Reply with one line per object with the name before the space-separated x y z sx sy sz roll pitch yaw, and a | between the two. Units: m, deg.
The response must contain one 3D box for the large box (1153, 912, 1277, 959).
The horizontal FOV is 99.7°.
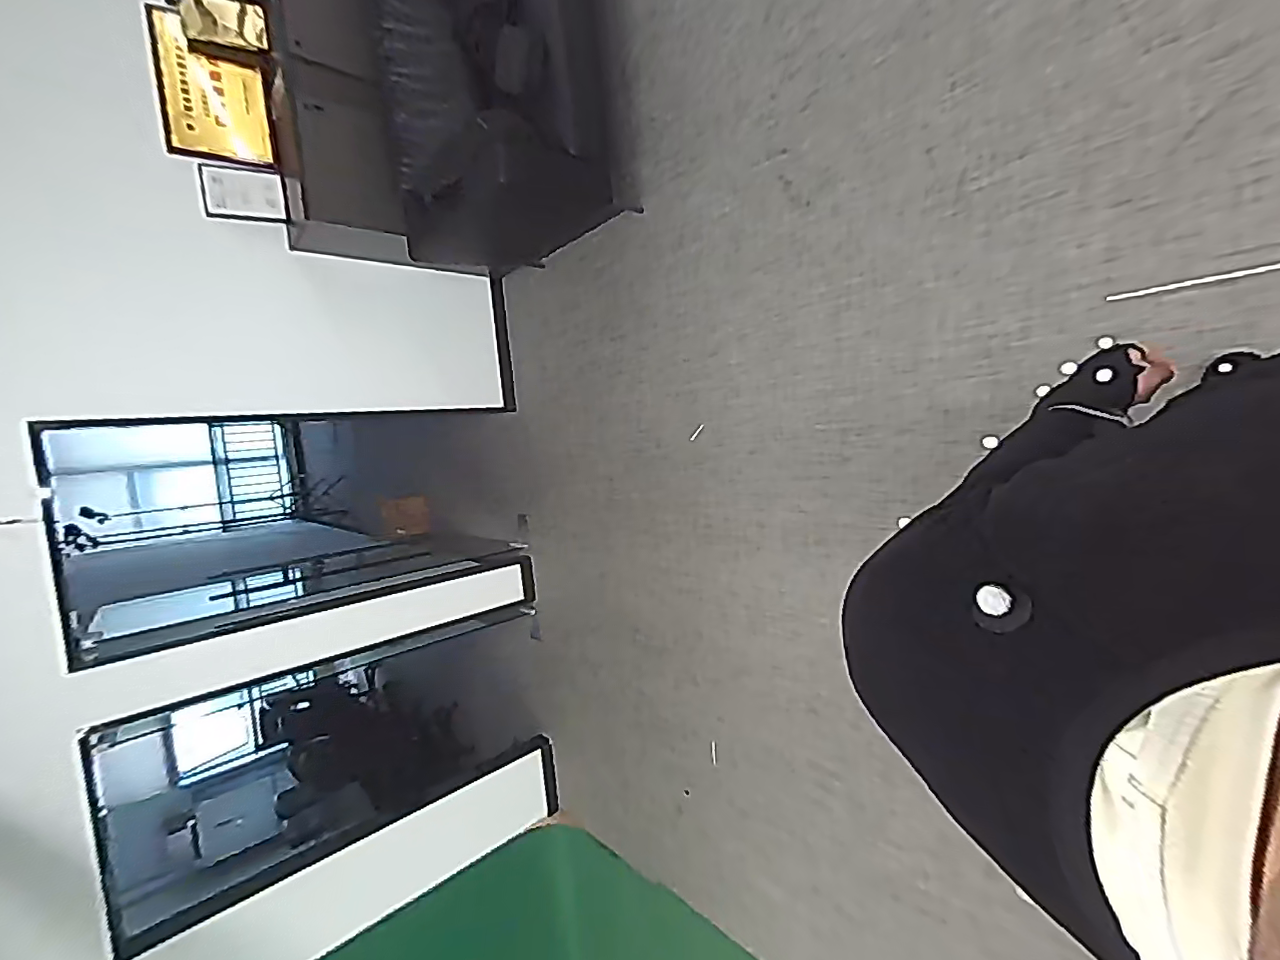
large box | 1.291 1.200 1.066 0.408 0.320 0.320 2 98 49
